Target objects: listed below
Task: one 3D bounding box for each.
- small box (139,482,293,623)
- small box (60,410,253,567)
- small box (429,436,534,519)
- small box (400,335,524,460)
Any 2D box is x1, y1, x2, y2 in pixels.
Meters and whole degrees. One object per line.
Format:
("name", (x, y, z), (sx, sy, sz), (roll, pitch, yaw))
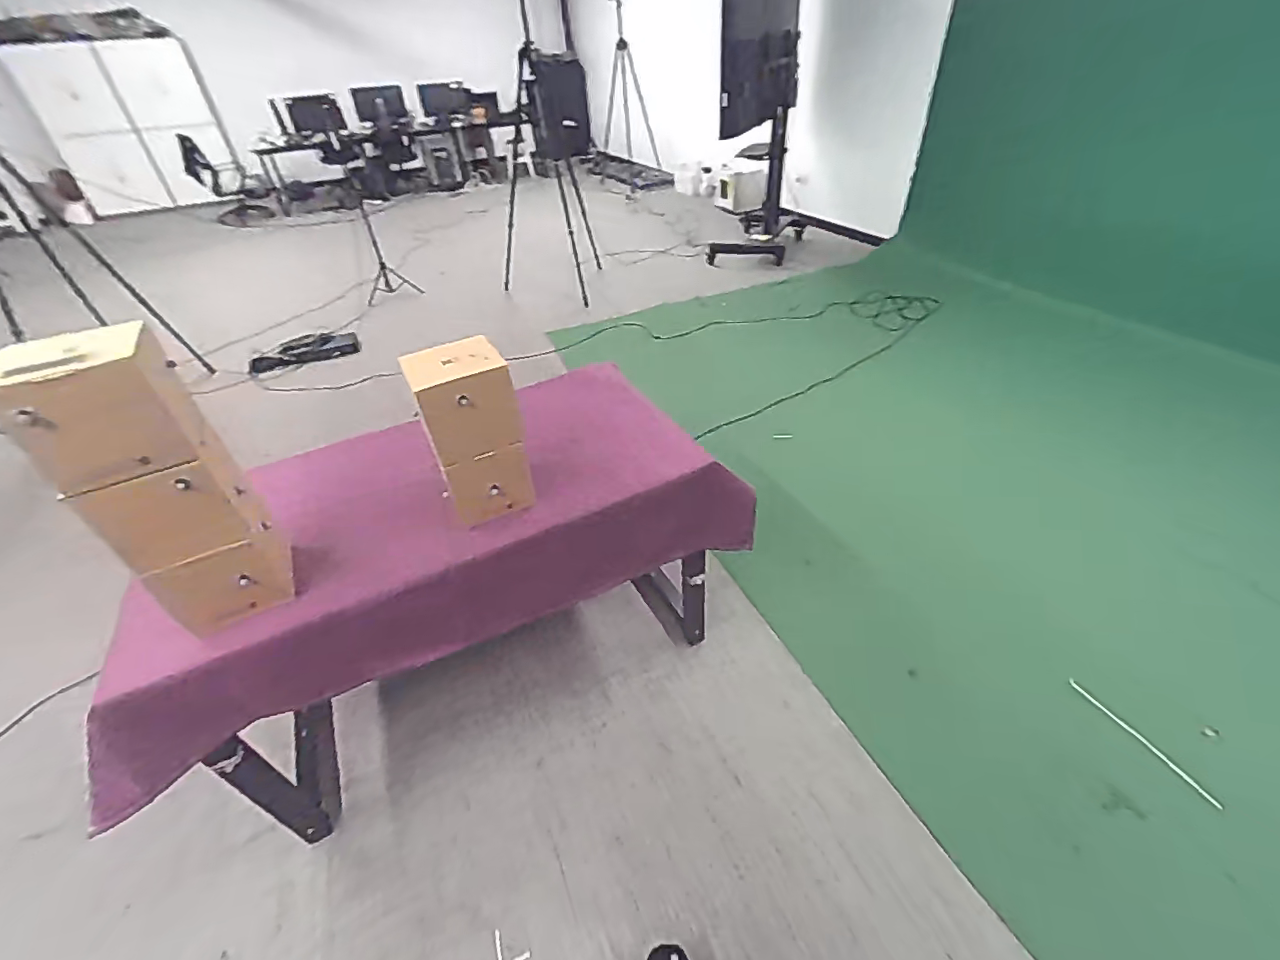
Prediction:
("small box", (-0.765, 0.138, 0.997), (0.168, 0.176, 0.179), (-21, 42, -21))
("small box", (-0.777, 0.013, 0.893), (0.179, 0.176, 0.168), (-22, 43, -23))
("small box", (-0.342, -0.035, 1.173), (0.168, 0.176, 0.179), (-20, 43, -19))
("small box", (-0.348, -0.162, 1.068), (0.179, 0.176, 0.168), (-21, 43, -20))
